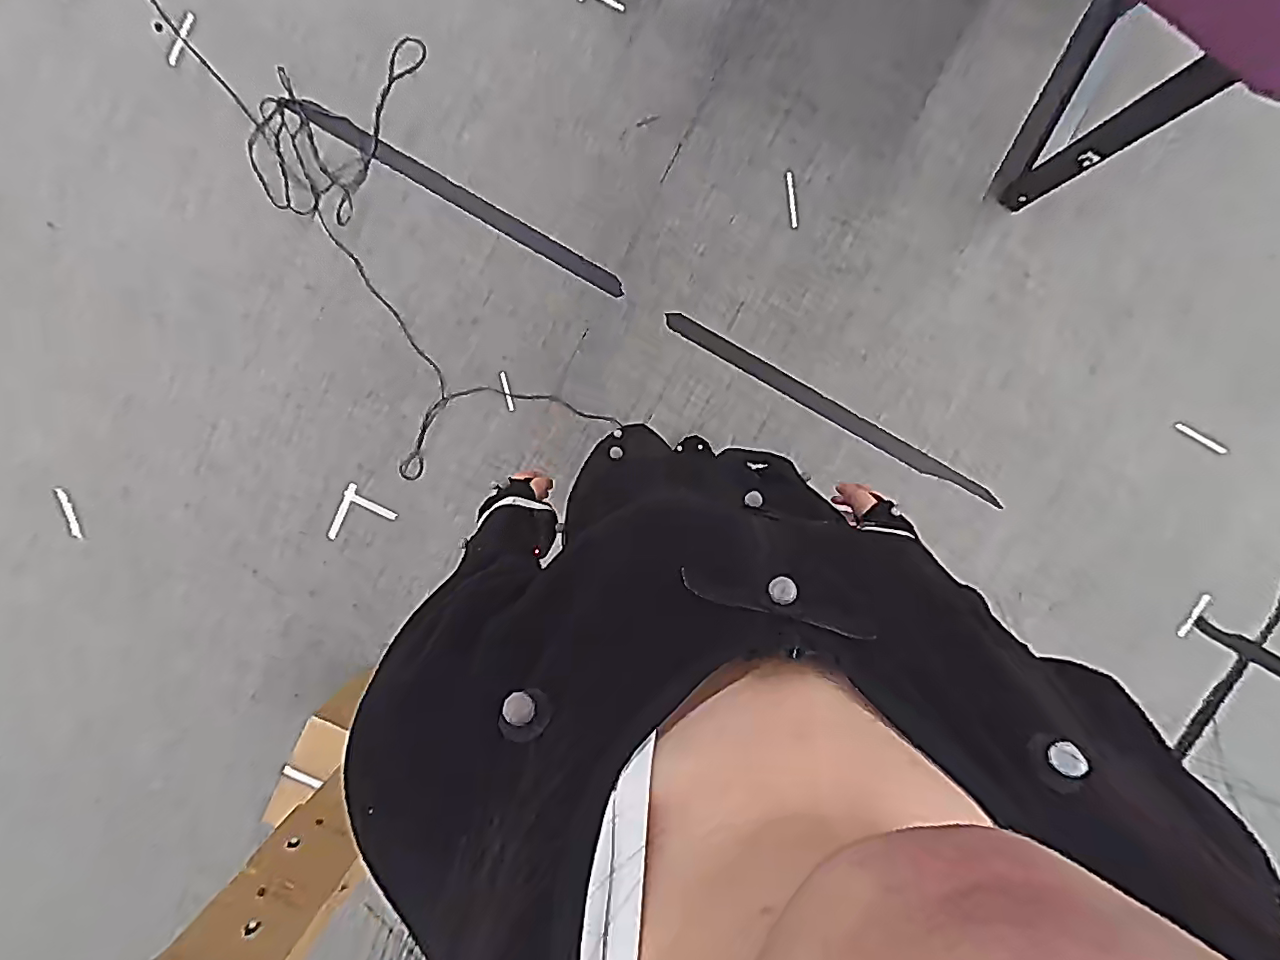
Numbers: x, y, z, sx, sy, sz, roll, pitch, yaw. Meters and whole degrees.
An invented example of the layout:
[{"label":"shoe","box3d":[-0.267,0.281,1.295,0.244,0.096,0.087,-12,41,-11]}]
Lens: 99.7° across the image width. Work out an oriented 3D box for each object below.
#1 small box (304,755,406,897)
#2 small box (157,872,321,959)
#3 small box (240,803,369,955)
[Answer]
[{"label":"small box","box3d":[-0.658,0.767,1.214,0.168,0.176,0.179,25,96,-2]},{"label":"small box","box3d":[-0.665,0.802,0.889,0.168,0.176,0.179,20,96,0]},{"label":"small box","box3d":[-0.663,0.778,1.053,0.168,0.176,0.179,24,97,-1]}]
